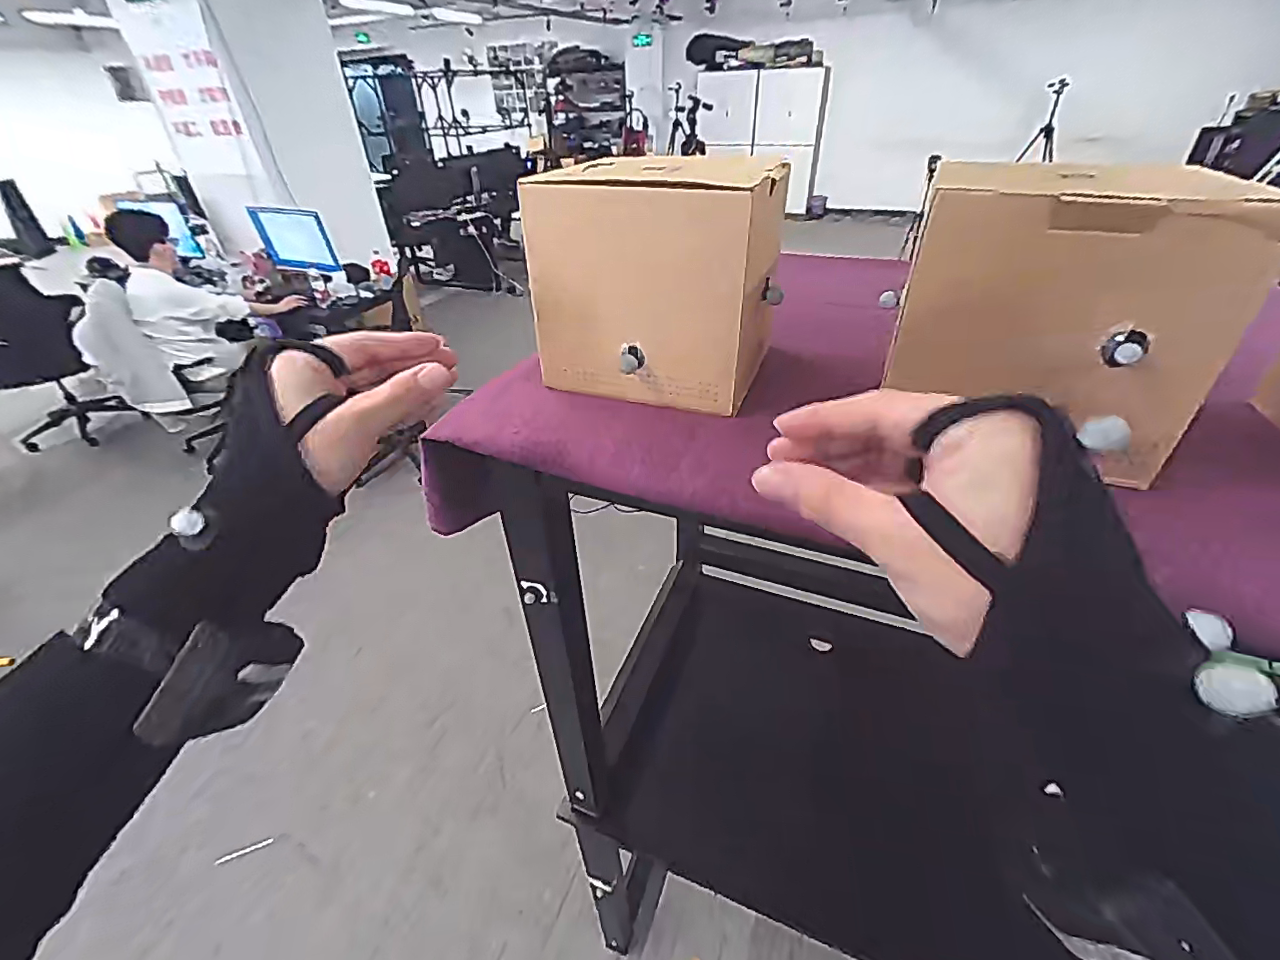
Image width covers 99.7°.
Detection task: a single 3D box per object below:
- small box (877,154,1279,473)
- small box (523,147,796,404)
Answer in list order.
[{"bbox_3d":[0.277,-0.126,0.384,0.168,0.176,0.179,14,37,21],"label":"small box"},{"bbox_3d":[0.024,-0.182,0.471,0.179,0.176,0.168,12,37,17],"label":"small box"}]
